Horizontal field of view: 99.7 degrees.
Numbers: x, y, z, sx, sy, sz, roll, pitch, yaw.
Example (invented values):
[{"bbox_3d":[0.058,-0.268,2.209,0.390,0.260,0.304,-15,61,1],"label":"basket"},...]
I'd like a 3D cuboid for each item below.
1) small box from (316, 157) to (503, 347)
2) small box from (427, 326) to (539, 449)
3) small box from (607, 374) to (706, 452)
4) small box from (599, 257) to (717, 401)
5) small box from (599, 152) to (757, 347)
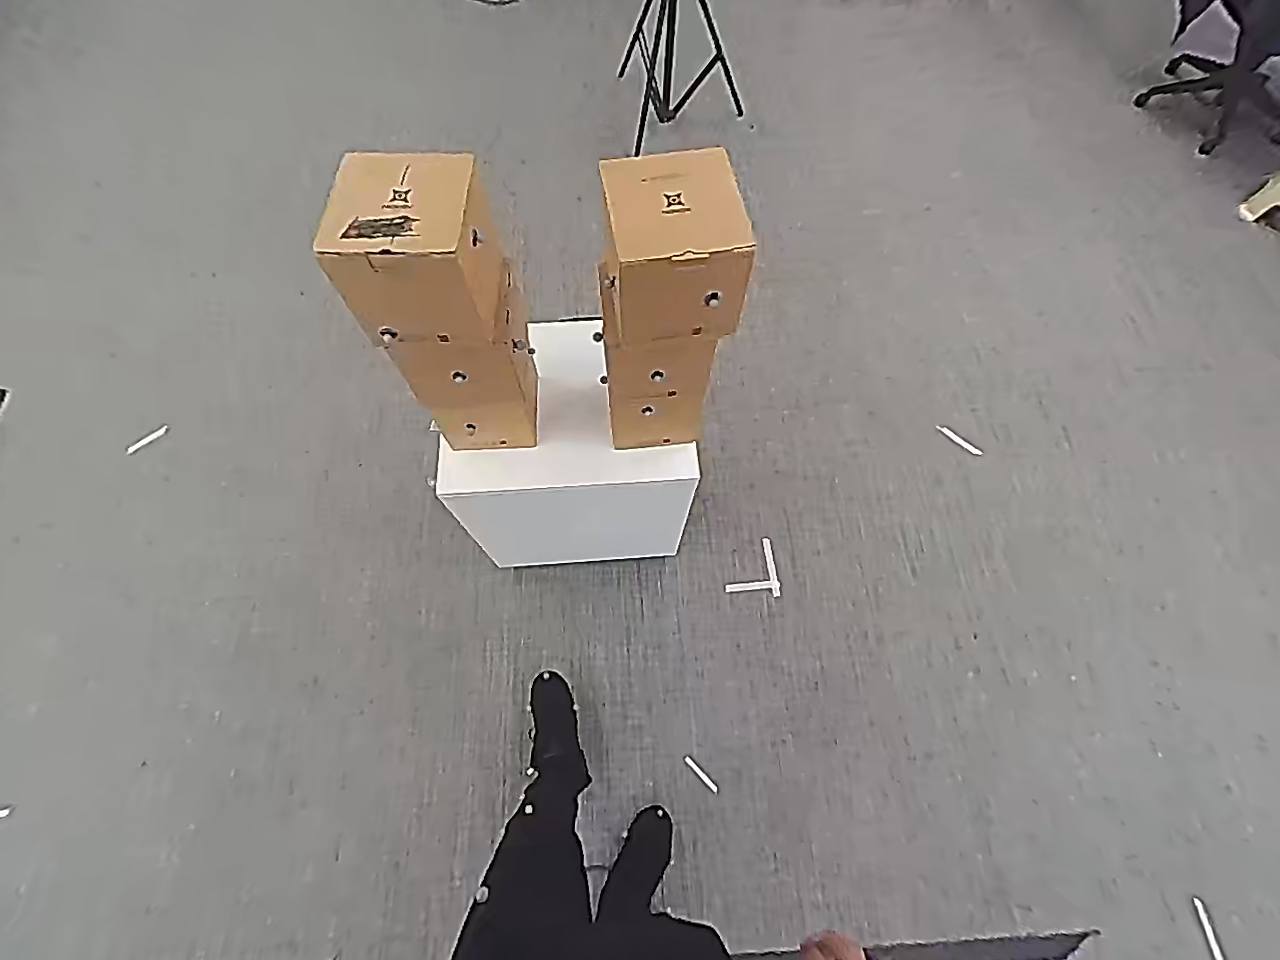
[{"bbox_3d":[-0.286,-0.294,0.717,0.168,0.176,0.179,0,65,-1],"label":"small box"},{"bbox_3d":[-0.285,-0.165,1.020,0.168,0.176,0.179,-3,66,-3],"label":"small box"},{"bbox_3d":[0.023,-0.173,1.028,0.168,0.176,0.179,-6,66,-2],"label":"small box"},{"bbox_3d":[0.025,-0.240,0.877,0.168,0.176,0.179,-5,66,-3],"label":"small box"},{"bbox_3d":[0.042,-0.296,0.723,0.168,0.176,0.179,-9,66,-5],"label":"small box"}]
